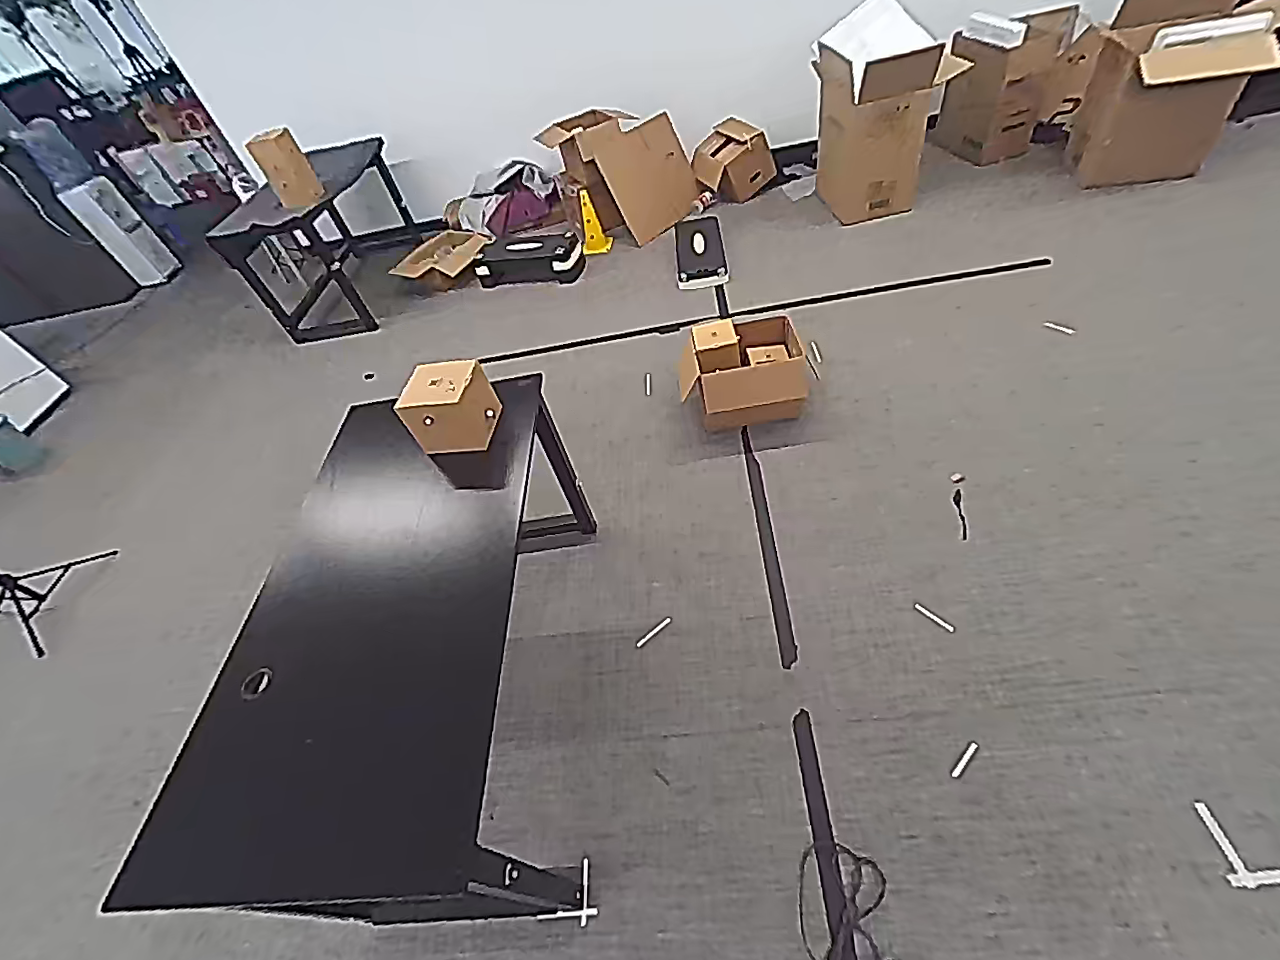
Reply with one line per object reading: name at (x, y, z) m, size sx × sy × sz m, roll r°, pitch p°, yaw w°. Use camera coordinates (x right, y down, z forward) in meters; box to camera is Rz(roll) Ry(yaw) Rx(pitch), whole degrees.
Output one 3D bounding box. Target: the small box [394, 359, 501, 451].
small box at (-0.487, -0.189, 1.394) m, size 0.179 × 0.176 × 0.168 m, roll -3°, pitch 50°, yaw 12°
